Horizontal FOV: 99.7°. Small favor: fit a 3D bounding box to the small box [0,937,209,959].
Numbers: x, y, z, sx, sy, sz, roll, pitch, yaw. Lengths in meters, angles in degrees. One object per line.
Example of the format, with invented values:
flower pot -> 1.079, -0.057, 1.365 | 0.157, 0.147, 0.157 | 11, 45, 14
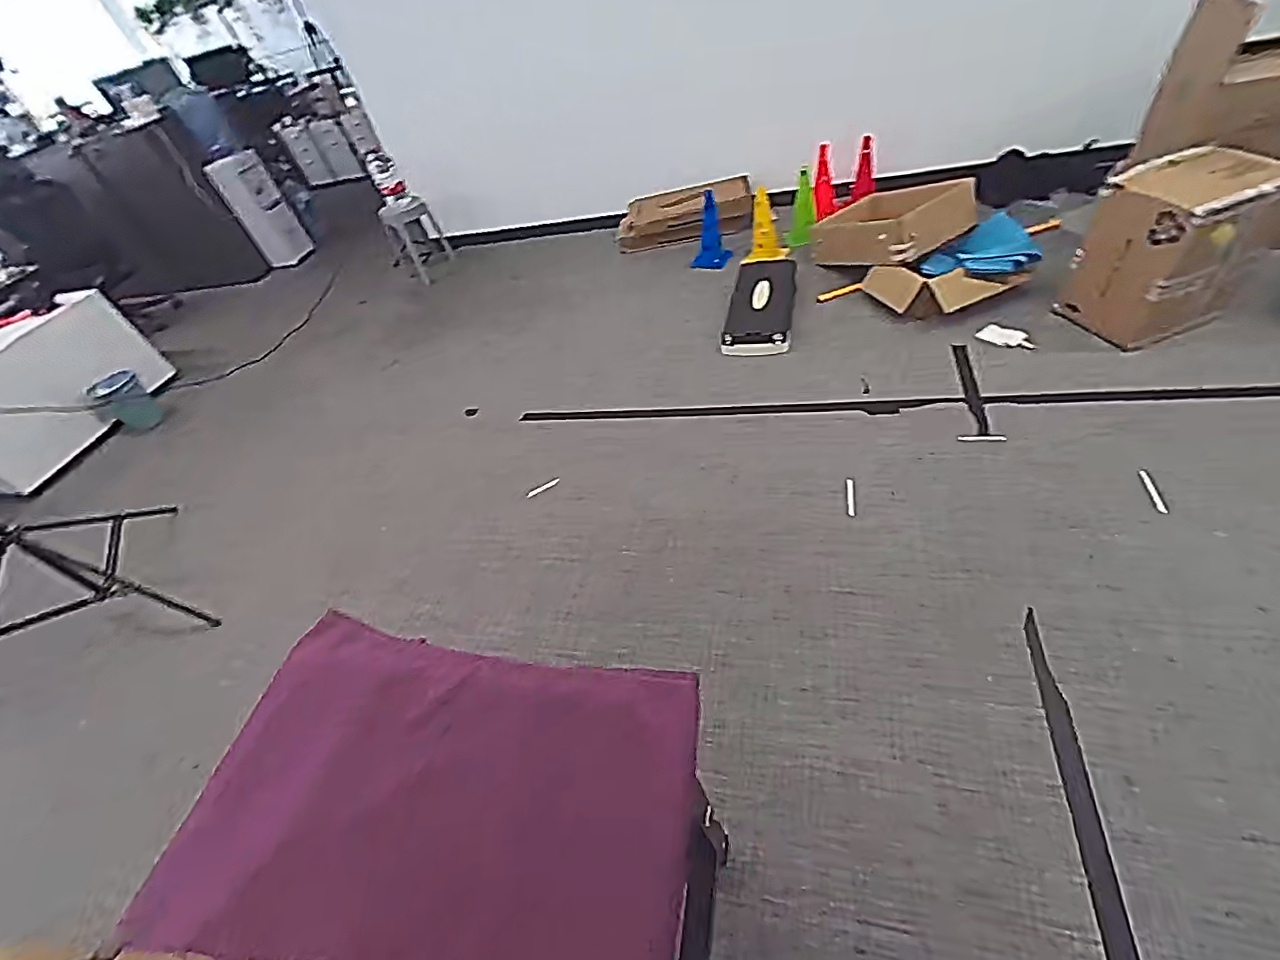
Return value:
small box -> -0.313, 0.395, 0.307 | 0.179, 0.176, 0.168 | 2, 49, 18
